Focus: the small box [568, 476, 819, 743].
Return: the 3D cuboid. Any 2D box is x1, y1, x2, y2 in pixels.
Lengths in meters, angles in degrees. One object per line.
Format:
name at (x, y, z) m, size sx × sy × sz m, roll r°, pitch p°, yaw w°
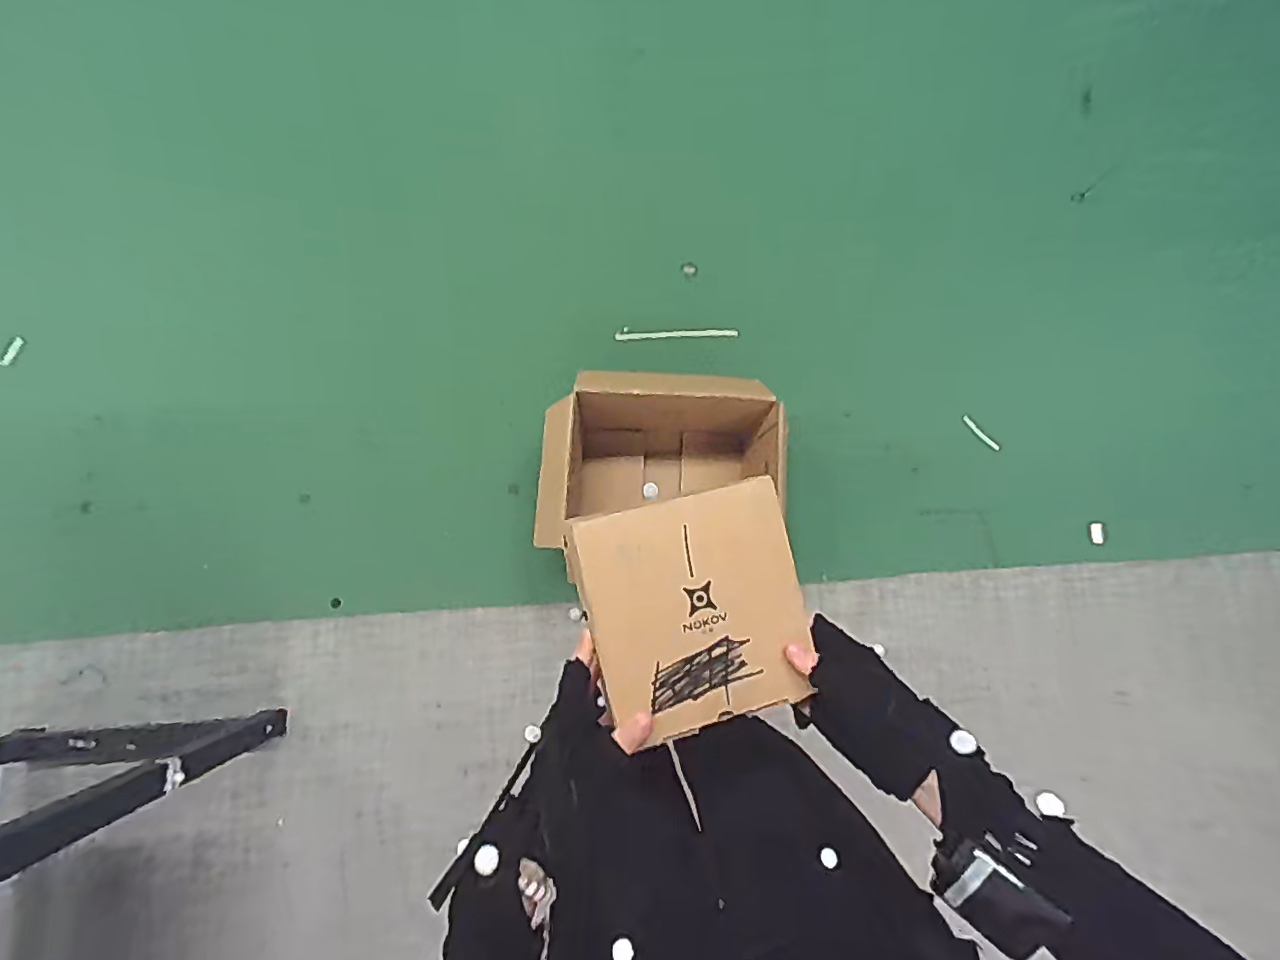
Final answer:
small box at (0.033, 0.101, 0.492) m, size 0.168 × 0.176 × 0.179 m, roll -12°, pitch 87°, yaw -11°
